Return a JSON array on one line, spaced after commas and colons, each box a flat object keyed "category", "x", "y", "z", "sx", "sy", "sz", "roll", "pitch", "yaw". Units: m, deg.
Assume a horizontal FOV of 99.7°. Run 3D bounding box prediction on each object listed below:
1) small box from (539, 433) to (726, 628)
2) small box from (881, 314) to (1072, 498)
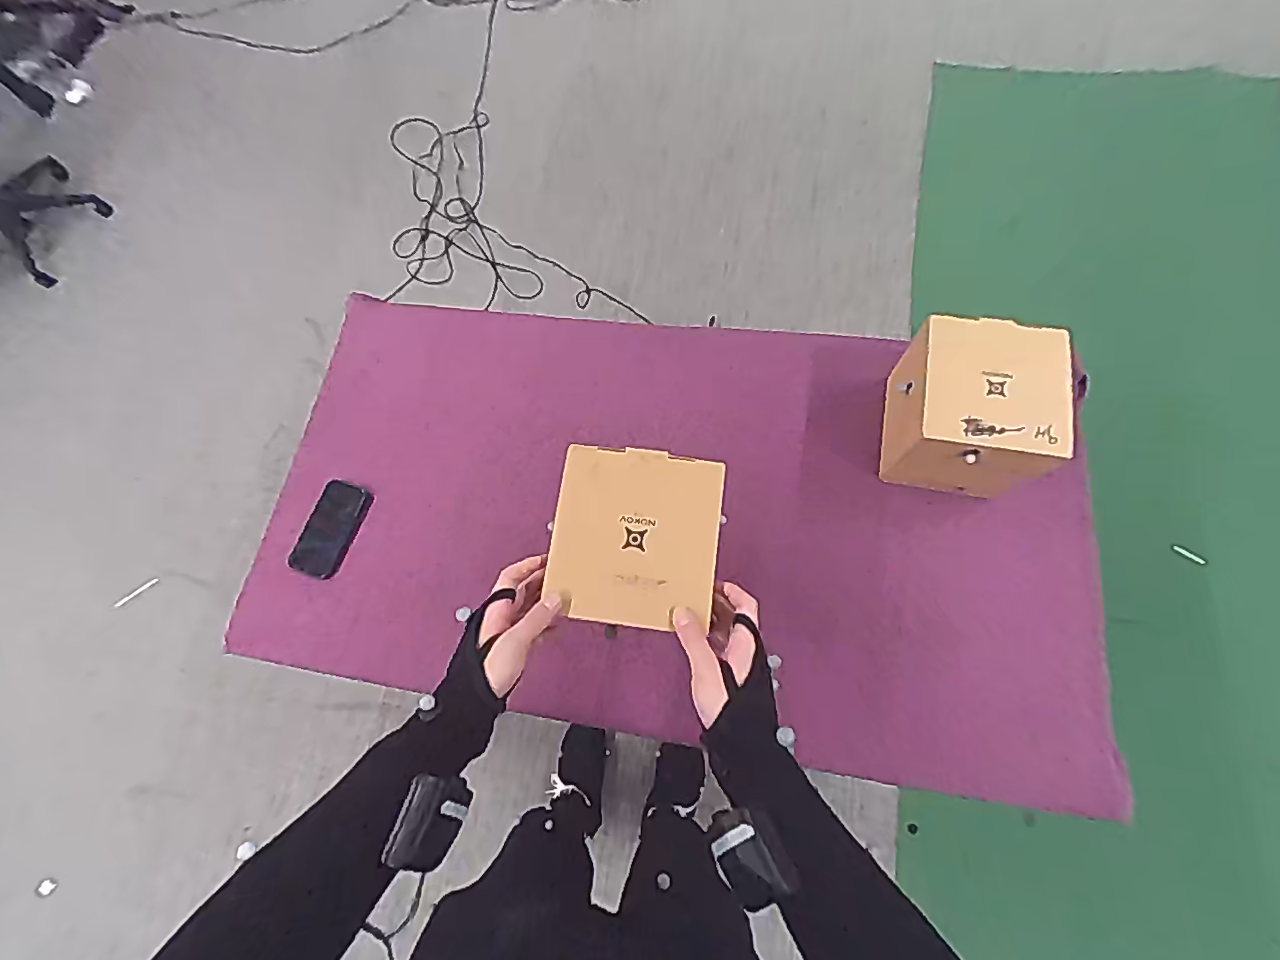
[{"category": "small box", "x": -0.004, "y": 0.066, "z": 0.612, "sx": 0.168, "sy": 0.176, "sz": 0.179, "roll": 8, "pitch": 75, "yaw": 3}, {"category": "small box", "x": 0.439, "y": -0.093, "z": 0.729, "sx": 0.168, "sy": 0.176, "sz": 0.179, "roll": 10, "pitch": 72, "yaw": 10}]
